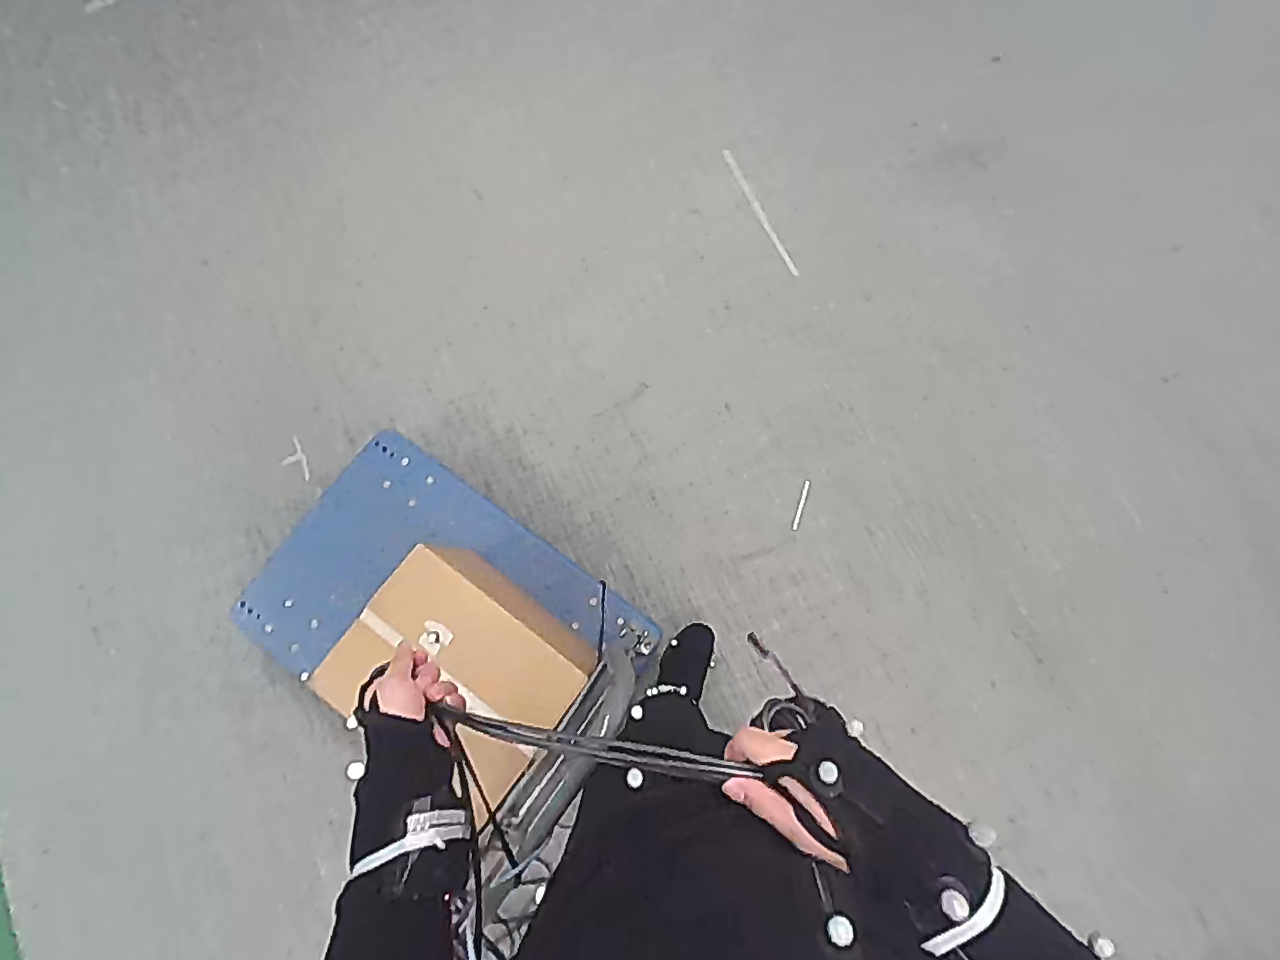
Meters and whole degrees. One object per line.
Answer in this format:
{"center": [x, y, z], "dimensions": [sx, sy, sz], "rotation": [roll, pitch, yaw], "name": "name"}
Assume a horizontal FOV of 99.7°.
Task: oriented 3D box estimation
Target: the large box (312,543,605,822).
{"center": [-0.328, 0.373, 1.096], "dimensions": [0.408, 0.320, 0.320], "rotation": [36, 82, 6], "name": "large box"}
